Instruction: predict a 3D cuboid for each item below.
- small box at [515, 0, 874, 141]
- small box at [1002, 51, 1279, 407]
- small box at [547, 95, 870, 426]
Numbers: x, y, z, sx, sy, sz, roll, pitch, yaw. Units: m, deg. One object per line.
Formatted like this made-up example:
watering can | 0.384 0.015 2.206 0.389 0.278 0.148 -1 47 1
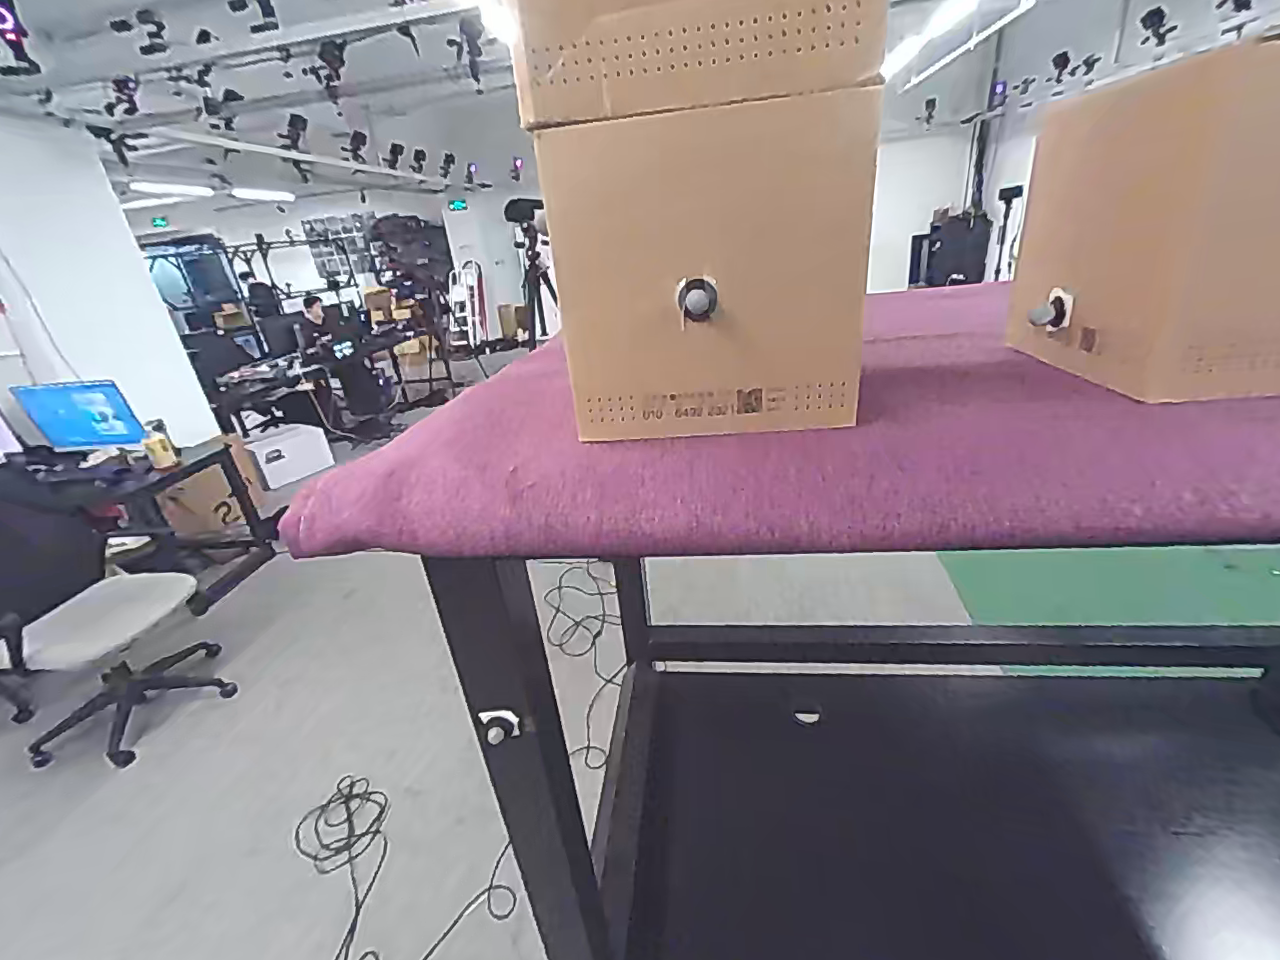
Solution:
small box | 0.027 -0.286 0.307 0.179 0.176 0.168 -3 25 5
small box | 0.366 -0.151 0.337 0.179 0.176 0.168 -3 23 8
small box | 0.047 -0.139 0.375 0.168 0.176 0.179 -1 24 7
